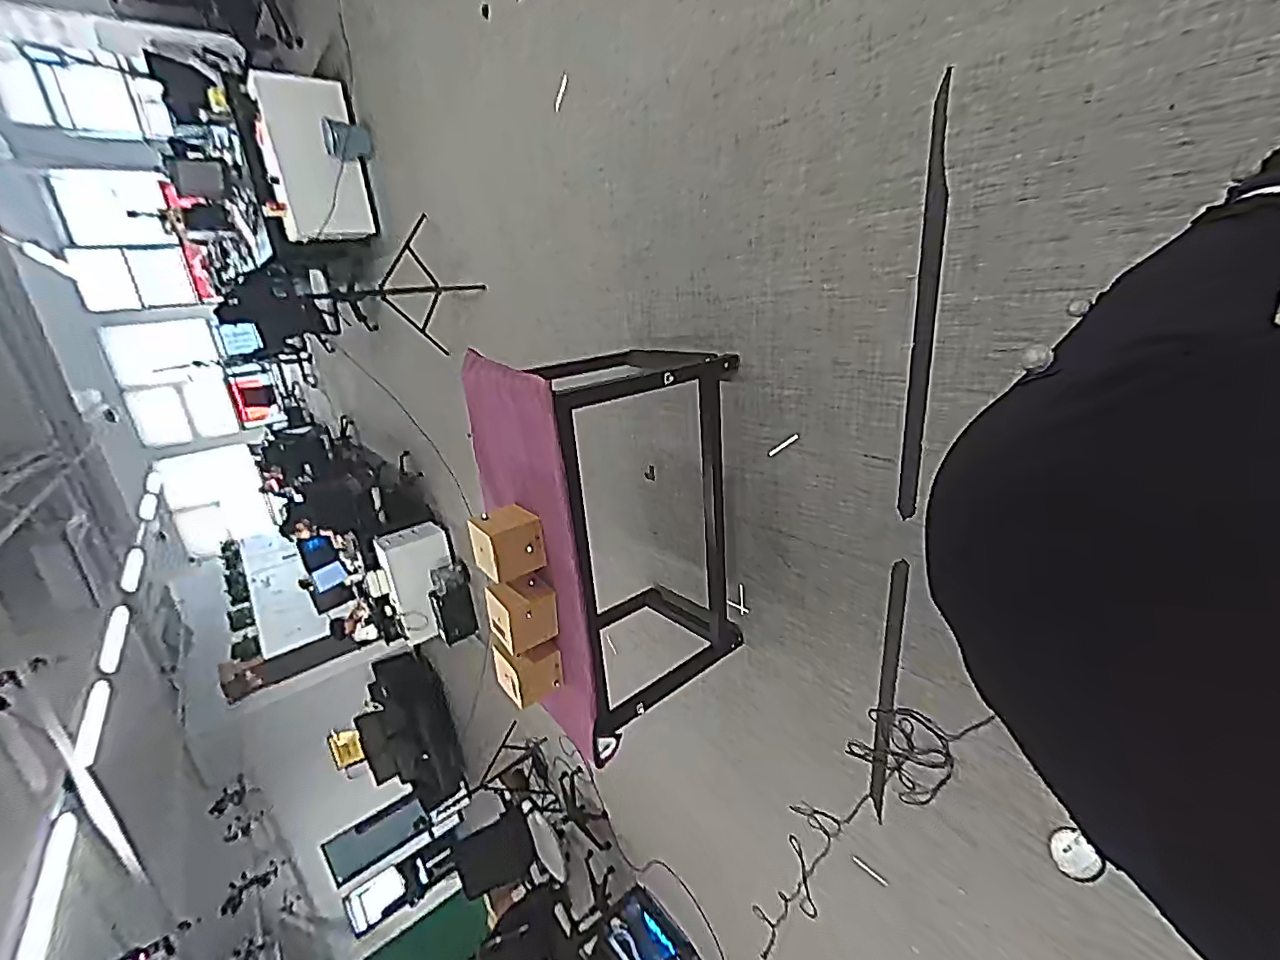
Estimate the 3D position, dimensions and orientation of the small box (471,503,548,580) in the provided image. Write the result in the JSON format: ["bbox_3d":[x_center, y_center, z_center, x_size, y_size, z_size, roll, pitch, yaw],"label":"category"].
[{"bbox_3d":[-0.409,0.184,1.700,0.179,0.176,0.168,21,123,48],"label":"small box"}]

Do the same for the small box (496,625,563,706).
[{"bbox_3d":[-0.375,0.630,1.868,0.179,0.176,0.168,26,125,45],"label":"small box"}]
